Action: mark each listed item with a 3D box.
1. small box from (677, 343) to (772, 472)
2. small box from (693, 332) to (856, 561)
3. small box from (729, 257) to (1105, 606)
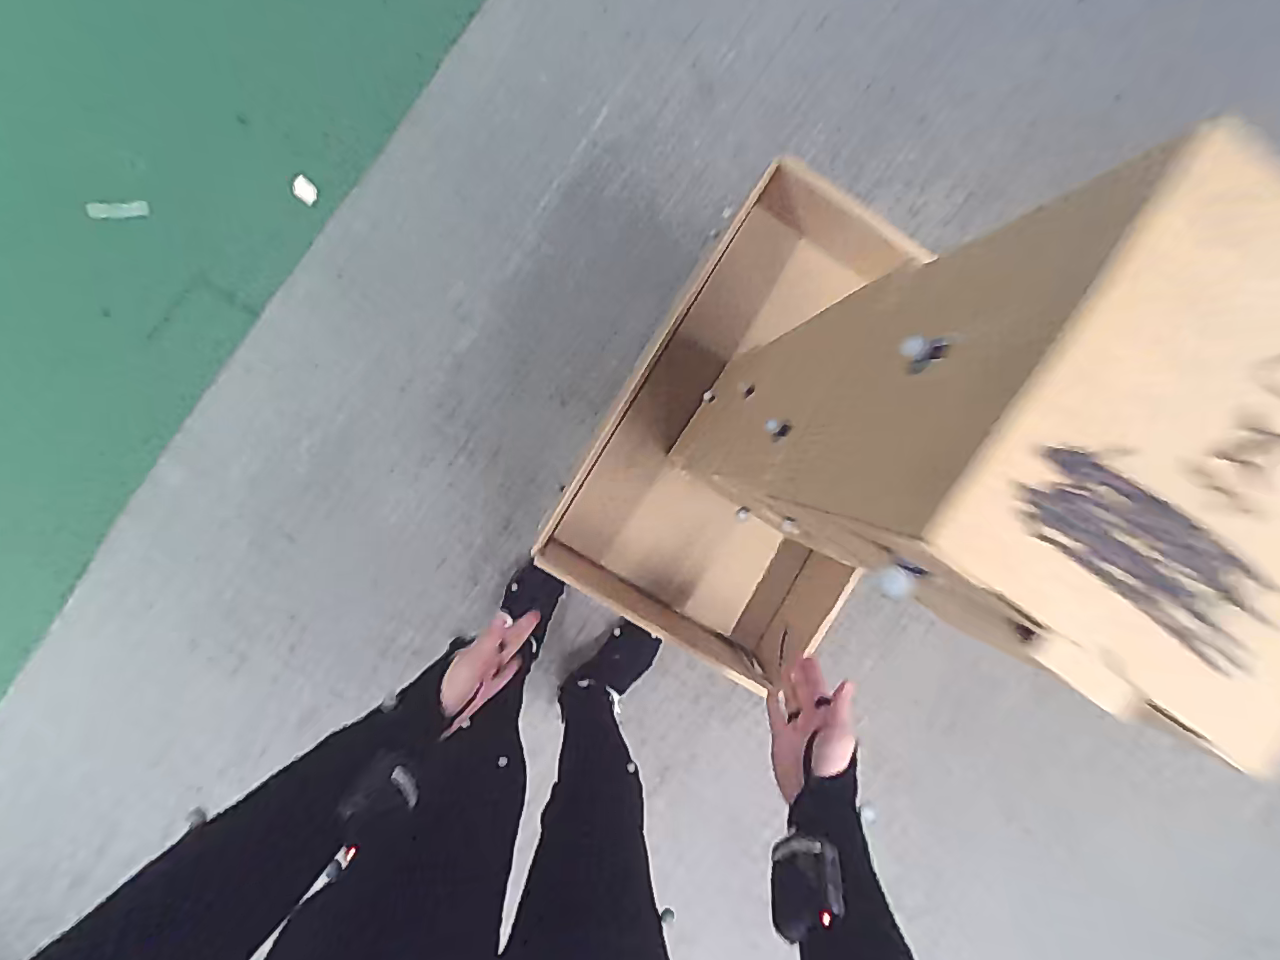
[{"bbox_3d":[0.166,-0.060,0.757,0.168,0.176,0.179,33,89,-7],"label":"small box"},{"bbox_3d":[0.176,-0.040,0.594,0.168,0.176,0.179,32,90,-6],"label":"small box"},{"bbox_3d":[0.193,-0.035,0.433,0.168,0.176,0.179,32,90,-7],"label":"small box"}]
